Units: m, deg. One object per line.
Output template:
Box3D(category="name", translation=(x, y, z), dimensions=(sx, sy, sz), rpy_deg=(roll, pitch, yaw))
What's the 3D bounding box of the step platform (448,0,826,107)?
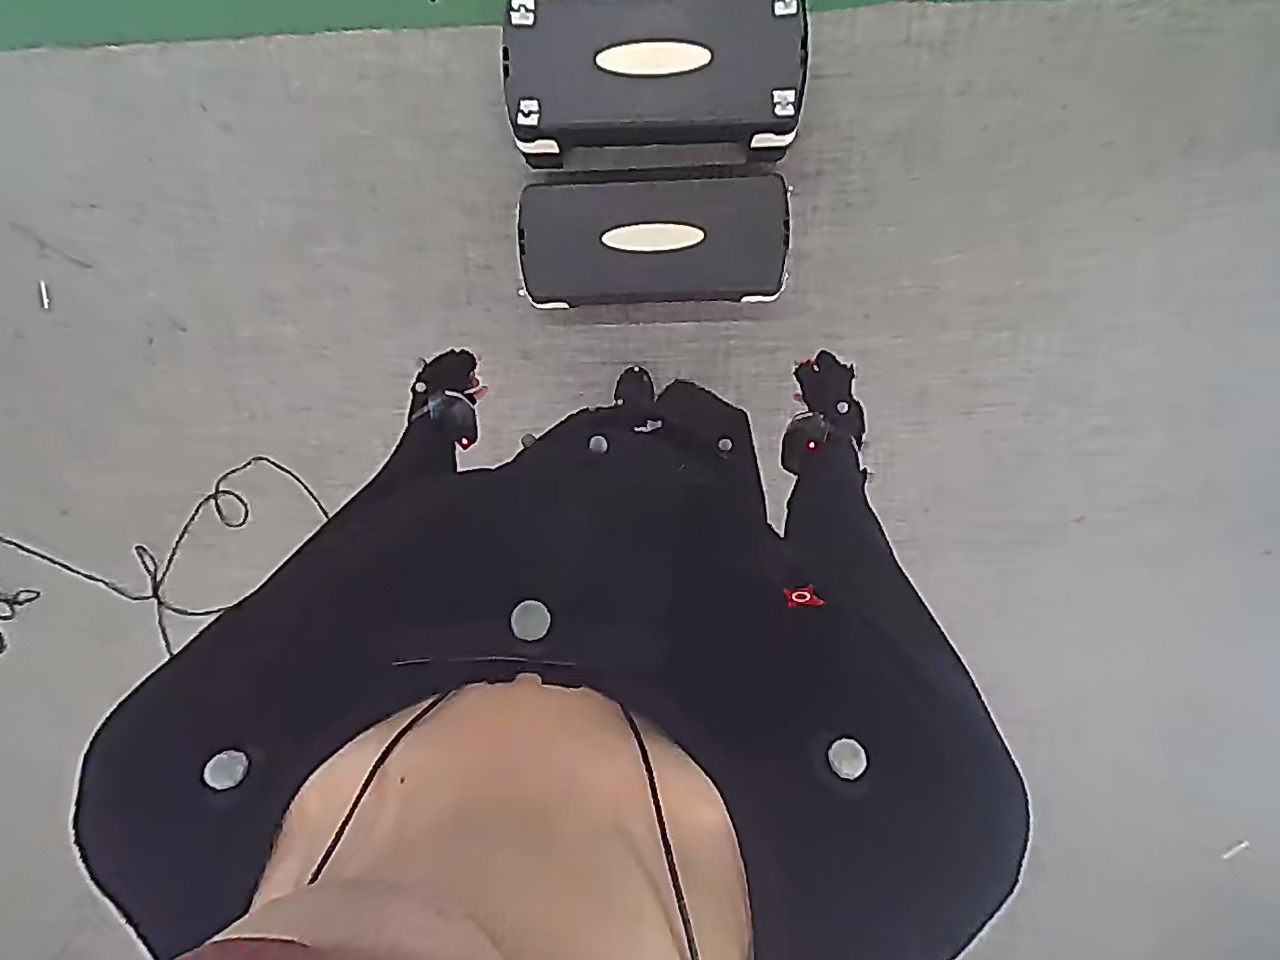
Box3D(category="step platform", translation=(-0.003, -0.920, 1.037), dimensions=(0.684, 0.204, 0.286), rpy_deg=(-1, 100, 3))
